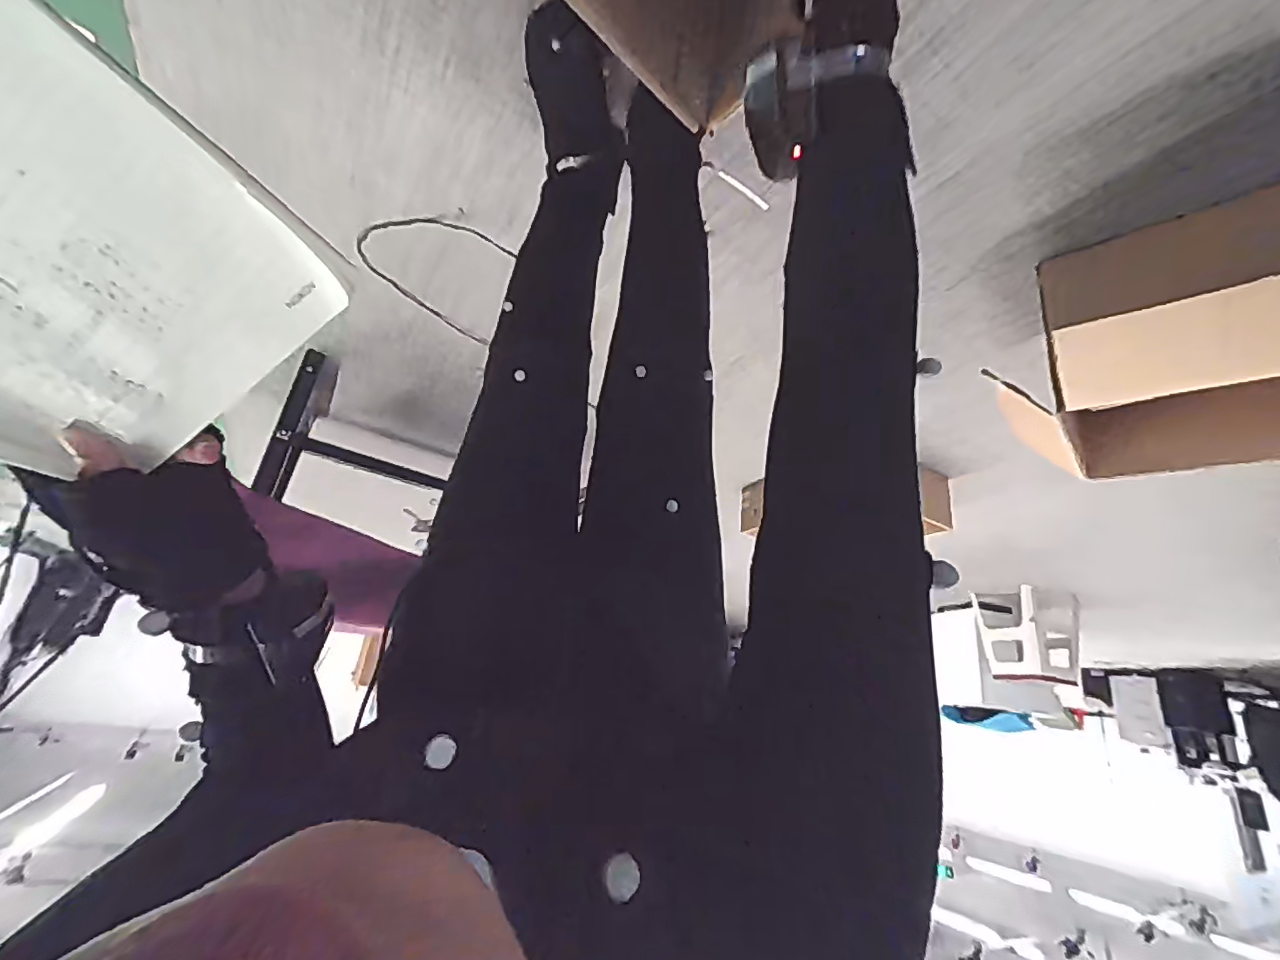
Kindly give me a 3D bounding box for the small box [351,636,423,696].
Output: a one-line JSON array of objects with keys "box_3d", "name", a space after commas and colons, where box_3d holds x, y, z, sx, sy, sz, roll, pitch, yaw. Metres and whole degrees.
[{"box_3d": [-0.833, 0.613, 1.786, 0.168, 0.176, 0.179, 20, 155, -28], "name": "small box"}]
